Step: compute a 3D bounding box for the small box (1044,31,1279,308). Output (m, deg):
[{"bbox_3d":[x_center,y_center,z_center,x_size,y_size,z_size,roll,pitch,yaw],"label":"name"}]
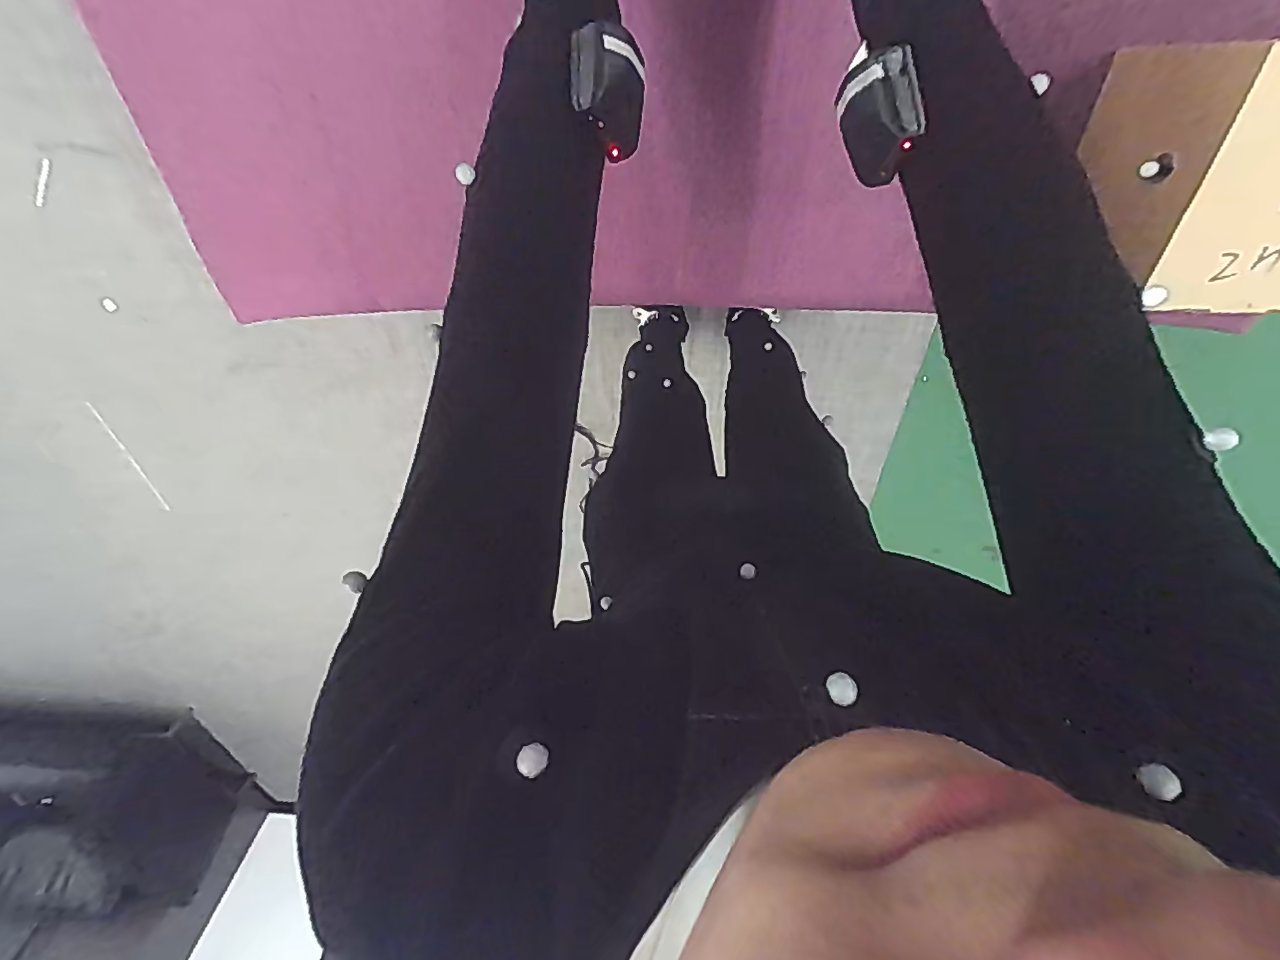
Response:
[{"bbox_3d":[0.488,-0.258,0.451,0.168,0.176,0.179,3,128,5],"label":"small box"}]
